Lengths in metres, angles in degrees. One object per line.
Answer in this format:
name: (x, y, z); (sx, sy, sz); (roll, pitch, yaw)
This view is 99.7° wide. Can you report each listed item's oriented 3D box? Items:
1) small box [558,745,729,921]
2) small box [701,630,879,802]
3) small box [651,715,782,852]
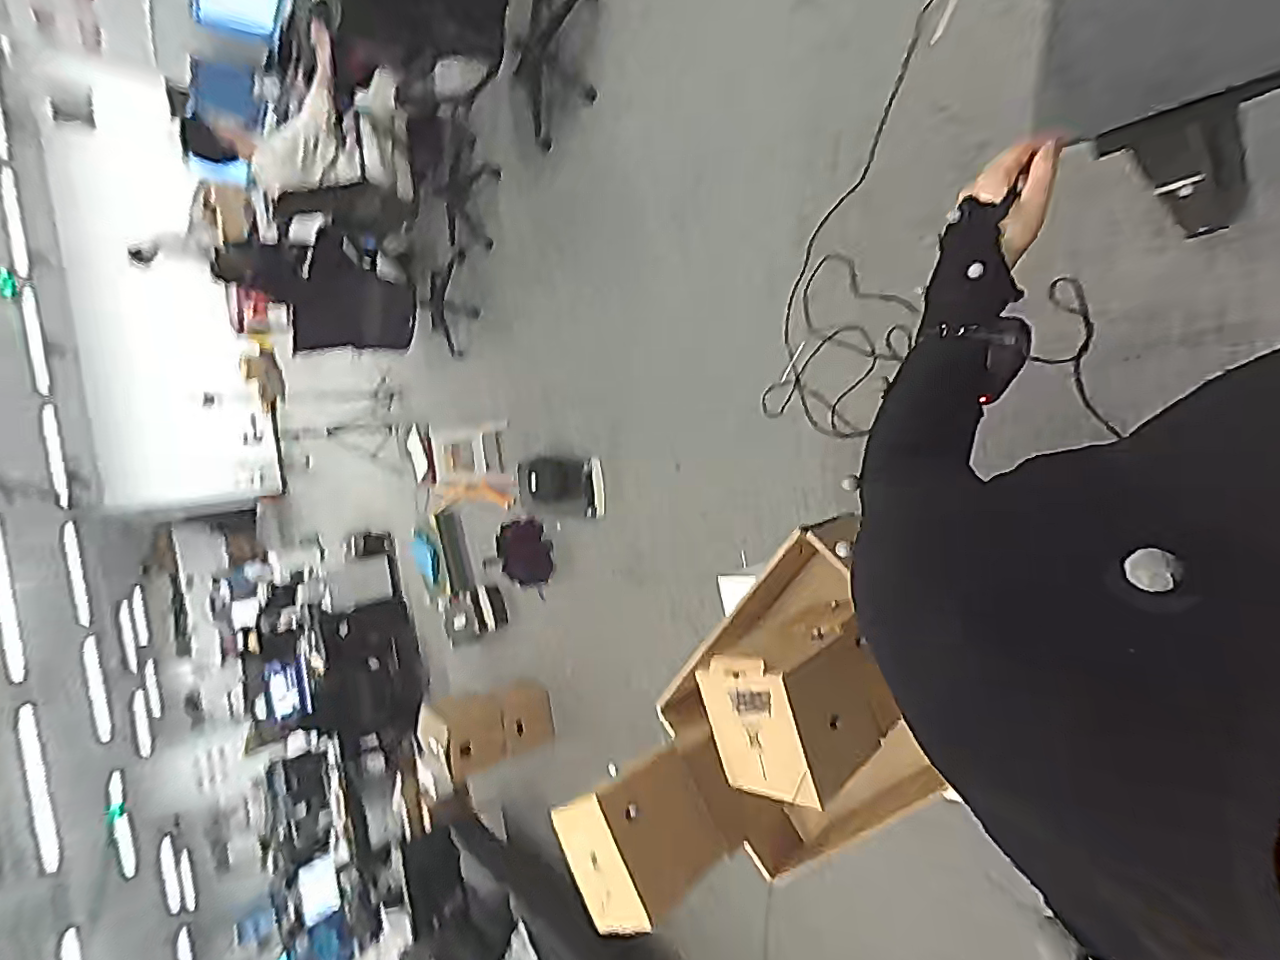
small box: (0.004, 0.546, 0.856); (0.168, 0.176, 0.179); (-49, 64, 42)
small box: (0.224, 0.333, 0.808); (0.168, 0.176, 0.179); (-21, 85, 50)
small box: (0.121, 0.538, 0.973); (0.179, 0.176, 0.168); (-44, 67, 42)
